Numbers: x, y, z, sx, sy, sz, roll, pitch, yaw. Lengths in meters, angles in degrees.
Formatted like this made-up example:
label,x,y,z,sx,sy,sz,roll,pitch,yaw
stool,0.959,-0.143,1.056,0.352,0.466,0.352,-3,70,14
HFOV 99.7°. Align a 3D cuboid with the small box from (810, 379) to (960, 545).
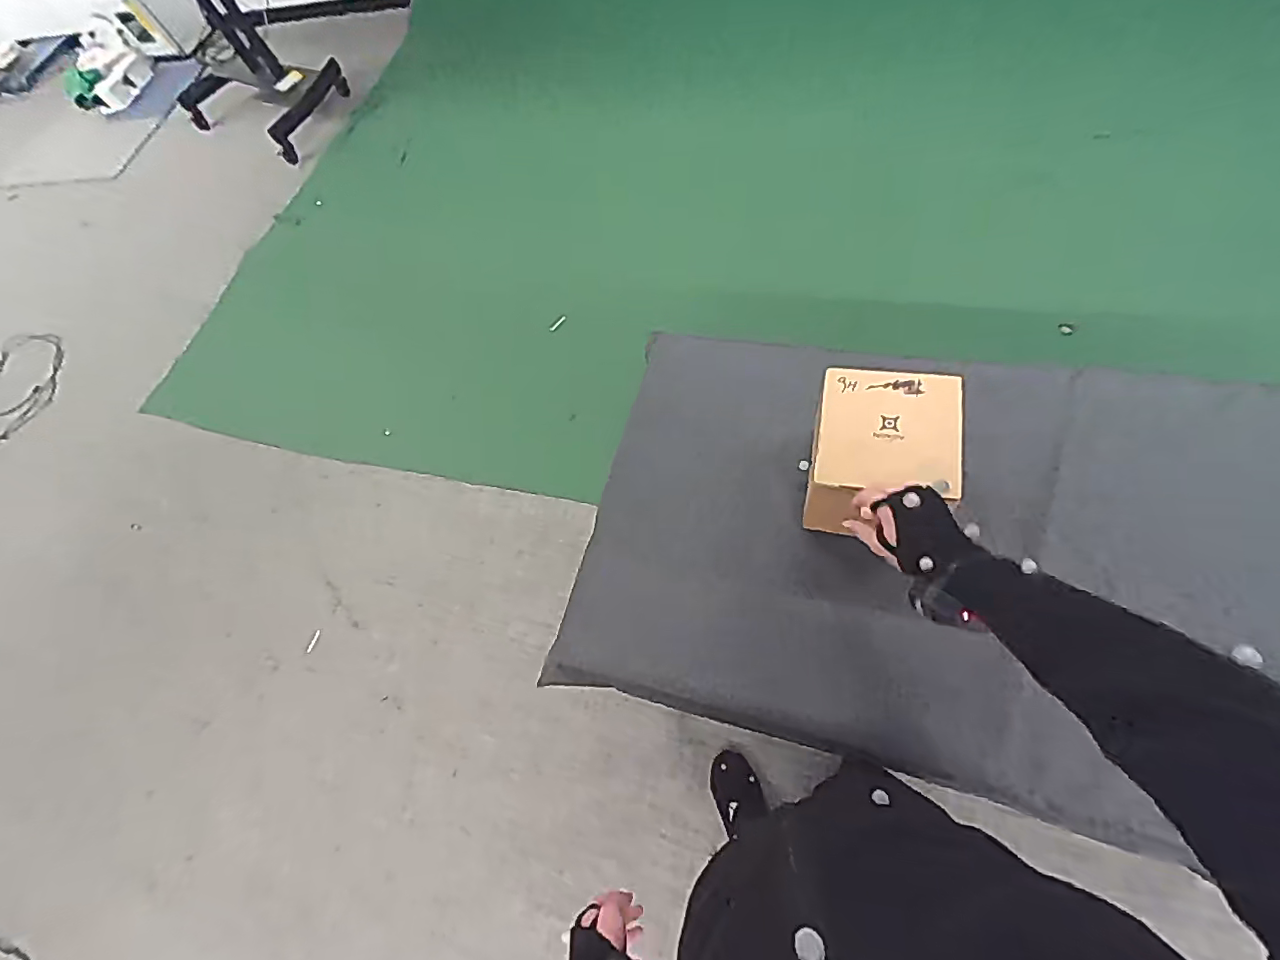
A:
label,x,y,z,sx,sy,sz,roll,pitch,yaw
small box,0.329,-0.020,0.751,0.168,0.176,0.179,4,66,16
